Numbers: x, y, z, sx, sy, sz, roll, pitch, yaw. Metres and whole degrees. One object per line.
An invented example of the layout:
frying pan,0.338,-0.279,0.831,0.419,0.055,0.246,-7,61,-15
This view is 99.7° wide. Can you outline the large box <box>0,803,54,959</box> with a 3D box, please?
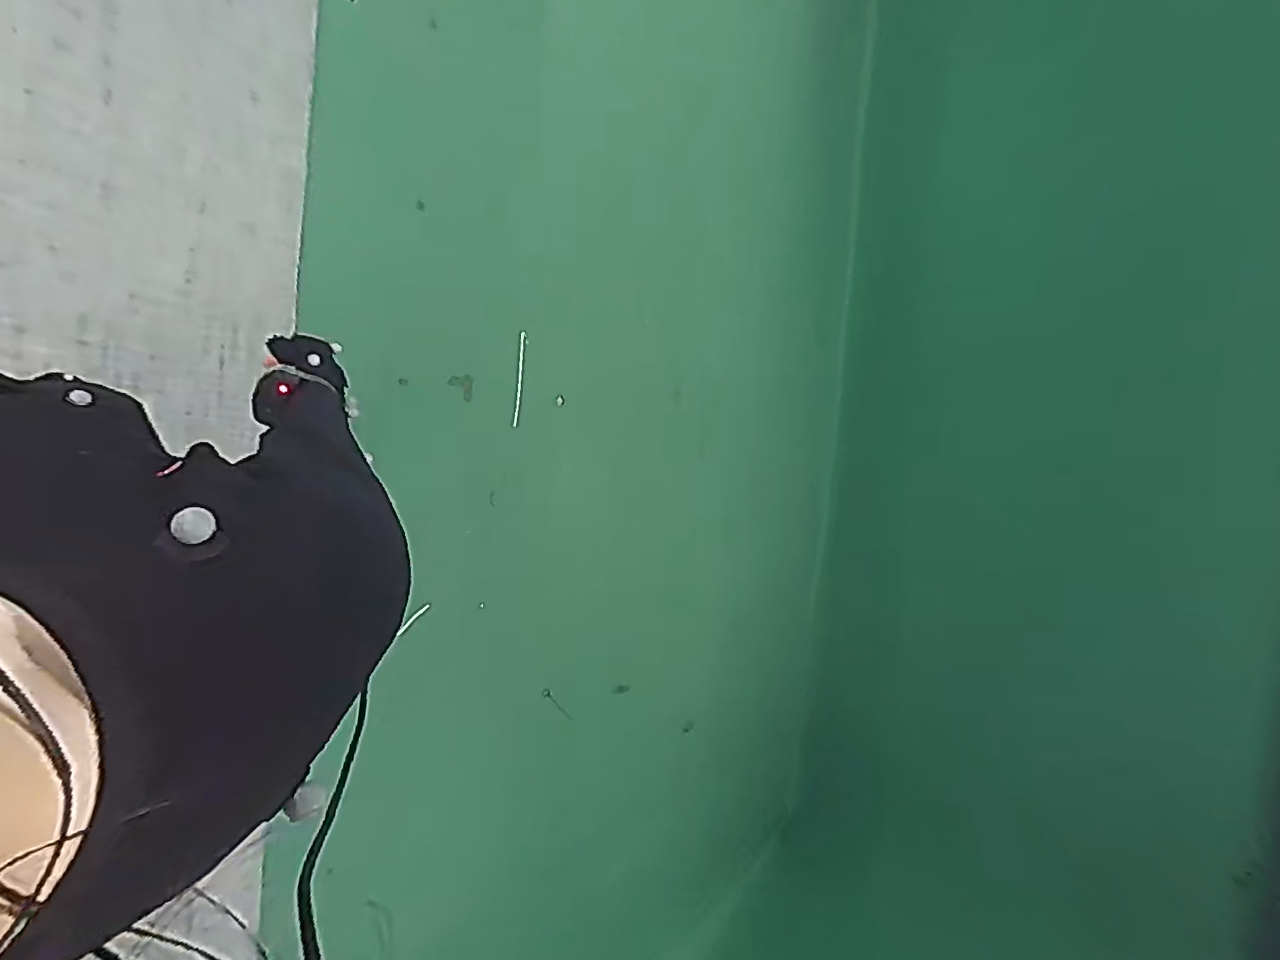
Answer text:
large box,-1.233,0.804,0.853,0.408,0.320,0.320,3,93,-49
